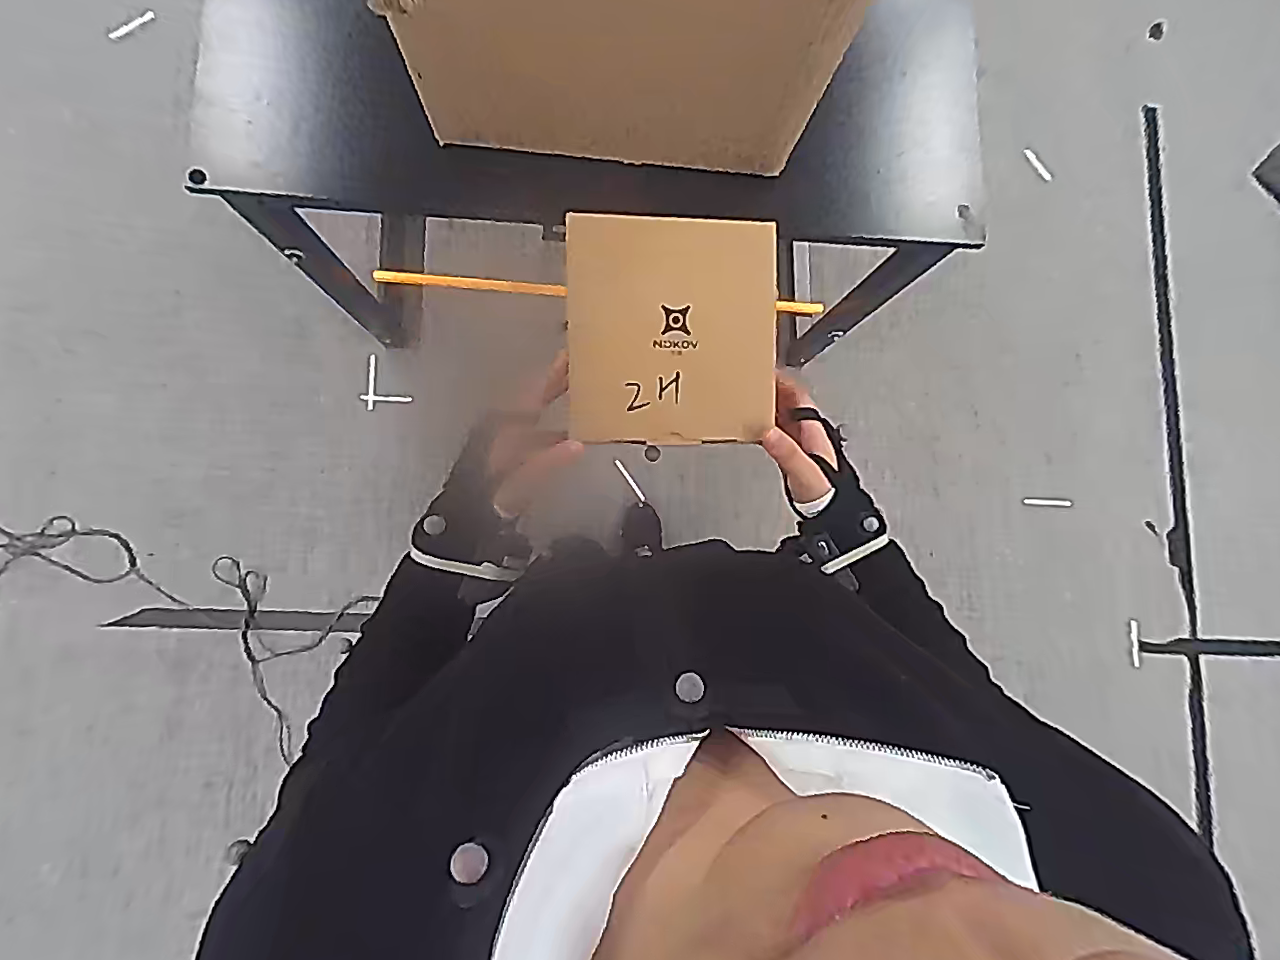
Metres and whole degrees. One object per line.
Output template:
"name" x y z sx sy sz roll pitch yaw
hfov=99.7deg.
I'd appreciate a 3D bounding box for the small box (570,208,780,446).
"small box" 0.019 -0.122 0.499 0.168 0.176 0.179 -1 93 -7
